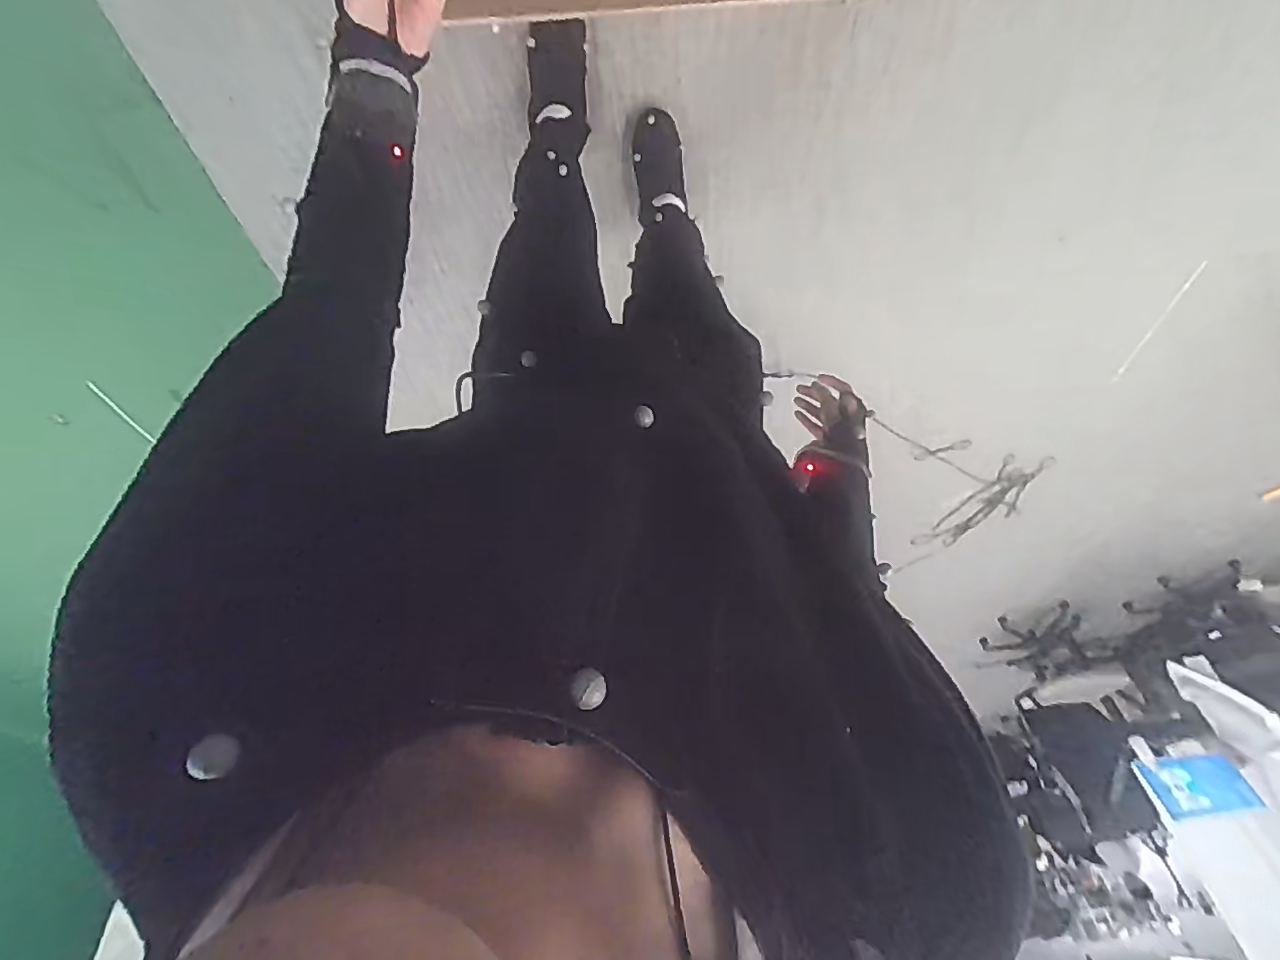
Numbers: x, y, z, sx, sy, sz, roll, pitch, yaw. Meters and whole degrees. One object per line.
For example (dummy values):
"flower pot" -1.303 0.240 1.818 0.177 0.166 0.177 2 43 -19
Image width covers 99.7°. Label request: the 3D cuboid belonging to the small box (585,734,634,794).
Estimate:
"small box" -0.118 1.103 2.100 0.168 0.176 0.179 -9 141 1
